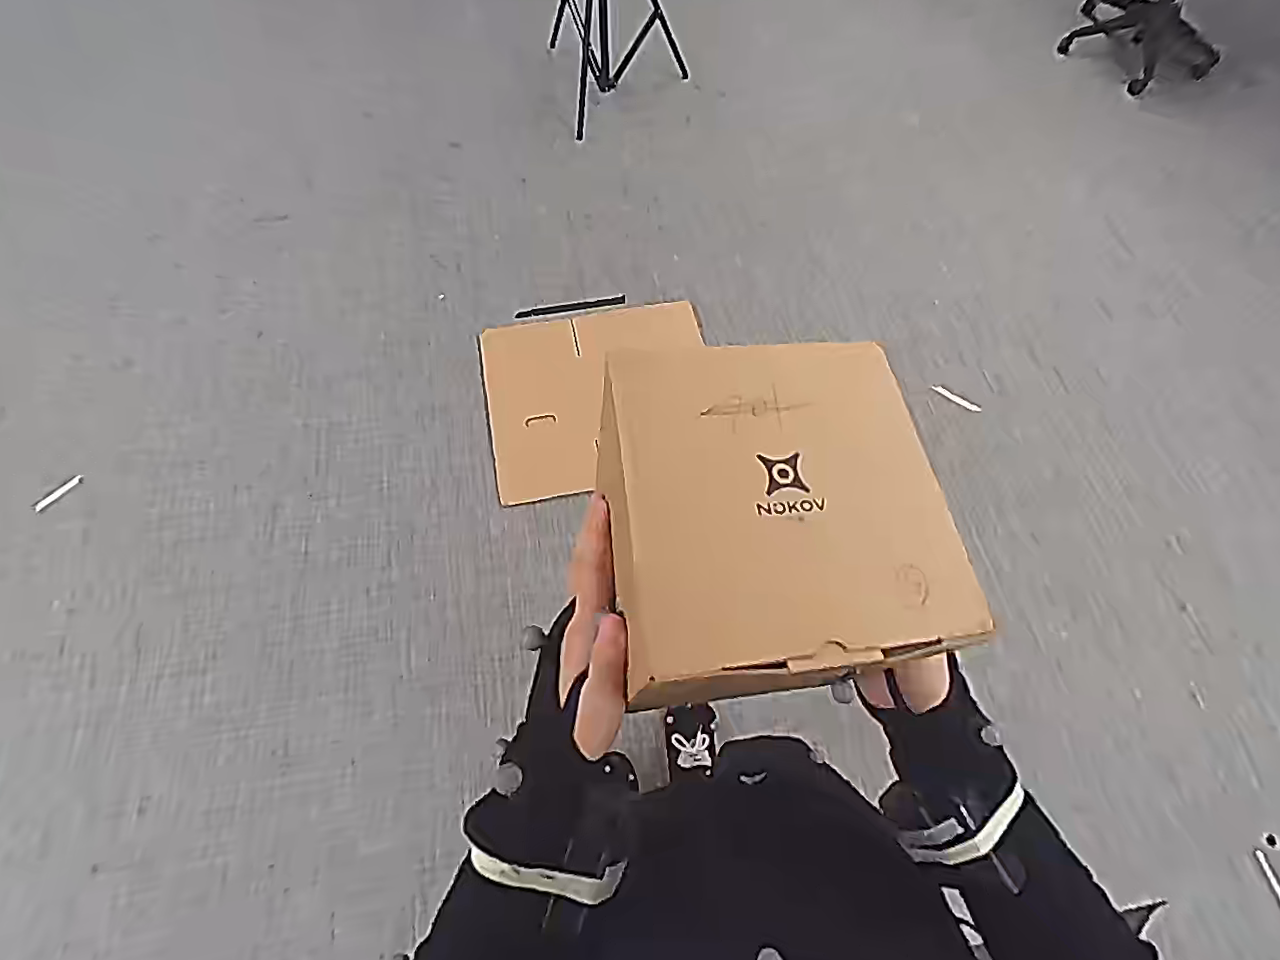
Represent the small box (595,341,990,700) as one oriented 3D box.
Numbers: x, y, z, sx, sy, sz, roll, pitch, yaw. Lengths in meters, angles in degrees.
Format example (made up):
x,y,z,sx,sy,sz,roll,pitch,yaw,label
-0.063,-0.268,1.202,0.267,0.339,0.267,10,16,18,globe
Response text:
x,y,z,sx,sy,sz,roll,pitch,yaw,label
0.063,0.036,0.344,0.168,0.176,0.179,-4,63,-10,small box
